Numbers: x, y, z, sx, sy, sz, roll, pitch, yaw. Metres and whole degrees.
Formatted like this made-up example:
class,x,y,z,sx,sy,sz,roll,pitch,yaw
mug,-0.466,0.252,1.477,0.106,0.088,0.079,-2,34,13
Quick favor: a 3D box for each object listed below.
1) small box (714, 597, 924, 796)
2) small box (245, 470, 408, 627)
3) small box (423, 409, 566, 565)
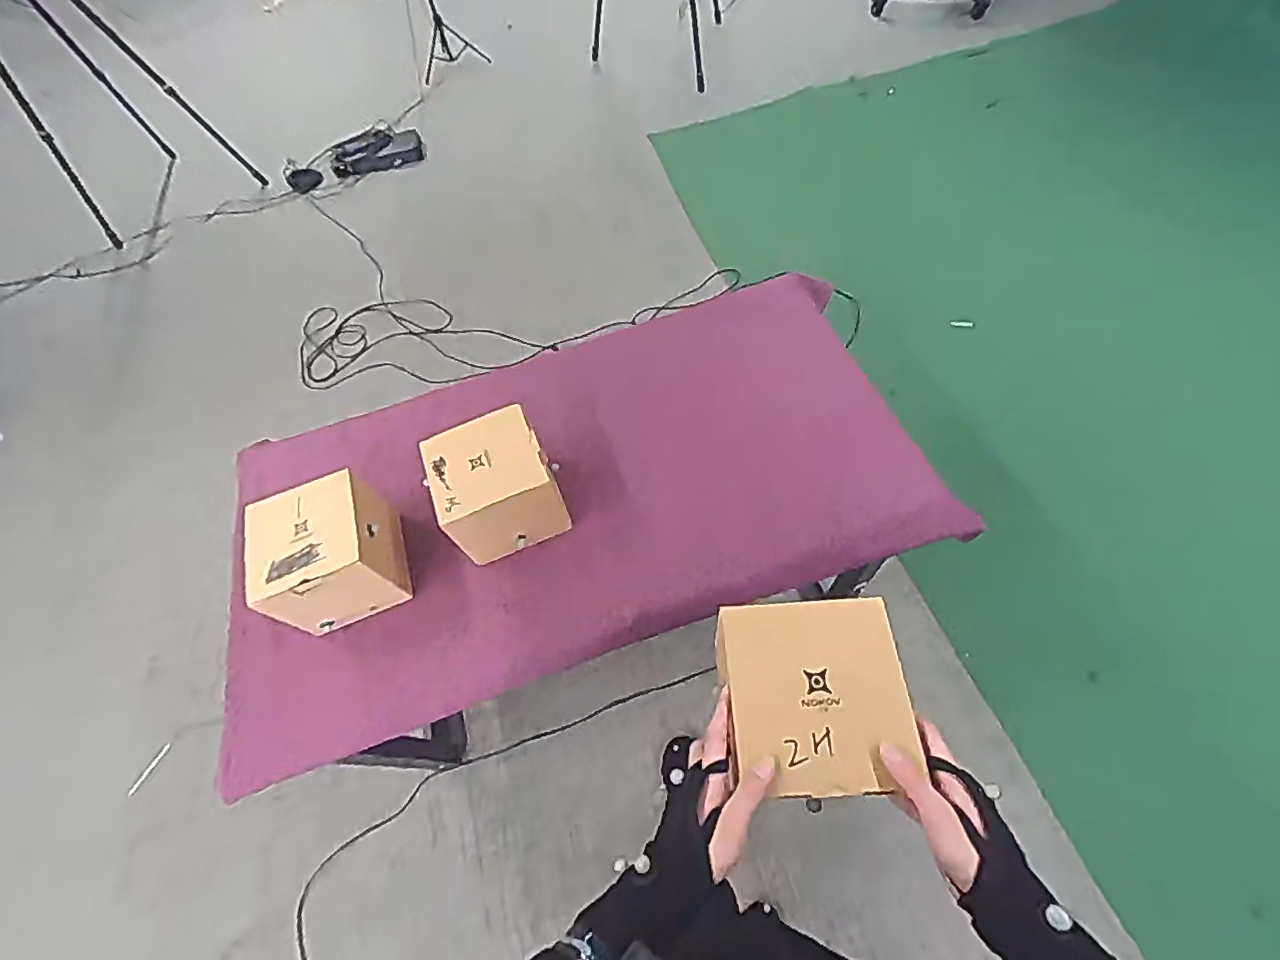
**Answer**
class,x,y,z,sx,sy,sz,roll,pitch,yaw
small box,0.170,0.238,0.582,0.168,0.176,0.179,-4,61,4
small box,-0.494,0.120,0.870,0.168,0.176,0.179,-21,59,-6
small box,-0.233,0.016,0.902,0.179,0.176,0.168,-22,60,-6
